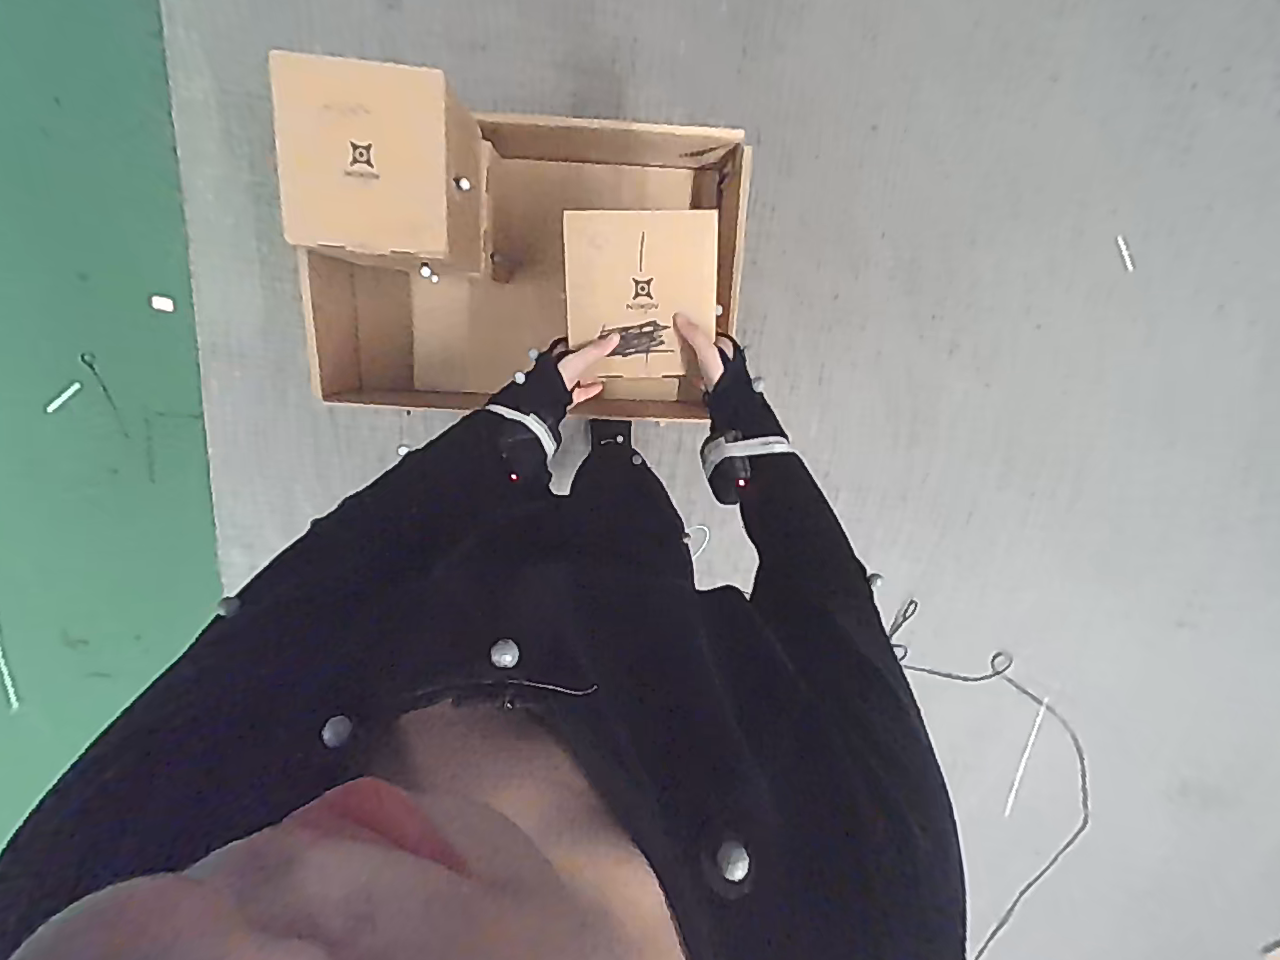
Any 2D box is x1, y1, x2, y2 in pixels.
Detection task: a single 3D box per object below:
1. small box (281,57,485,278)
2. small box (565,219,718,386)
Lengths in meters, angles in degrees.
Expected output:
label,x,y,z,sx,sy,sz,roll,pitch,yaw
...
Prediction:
label,x,y,z,sx,sy,sz,roll,pitch,yaw
small box,-0.280,-0.339,0.626,0.168,0.176,0.179,5,104,-6
small box,-0.001,-0.212,0.670,0.168,0.176,0.179,-1,104,-2
